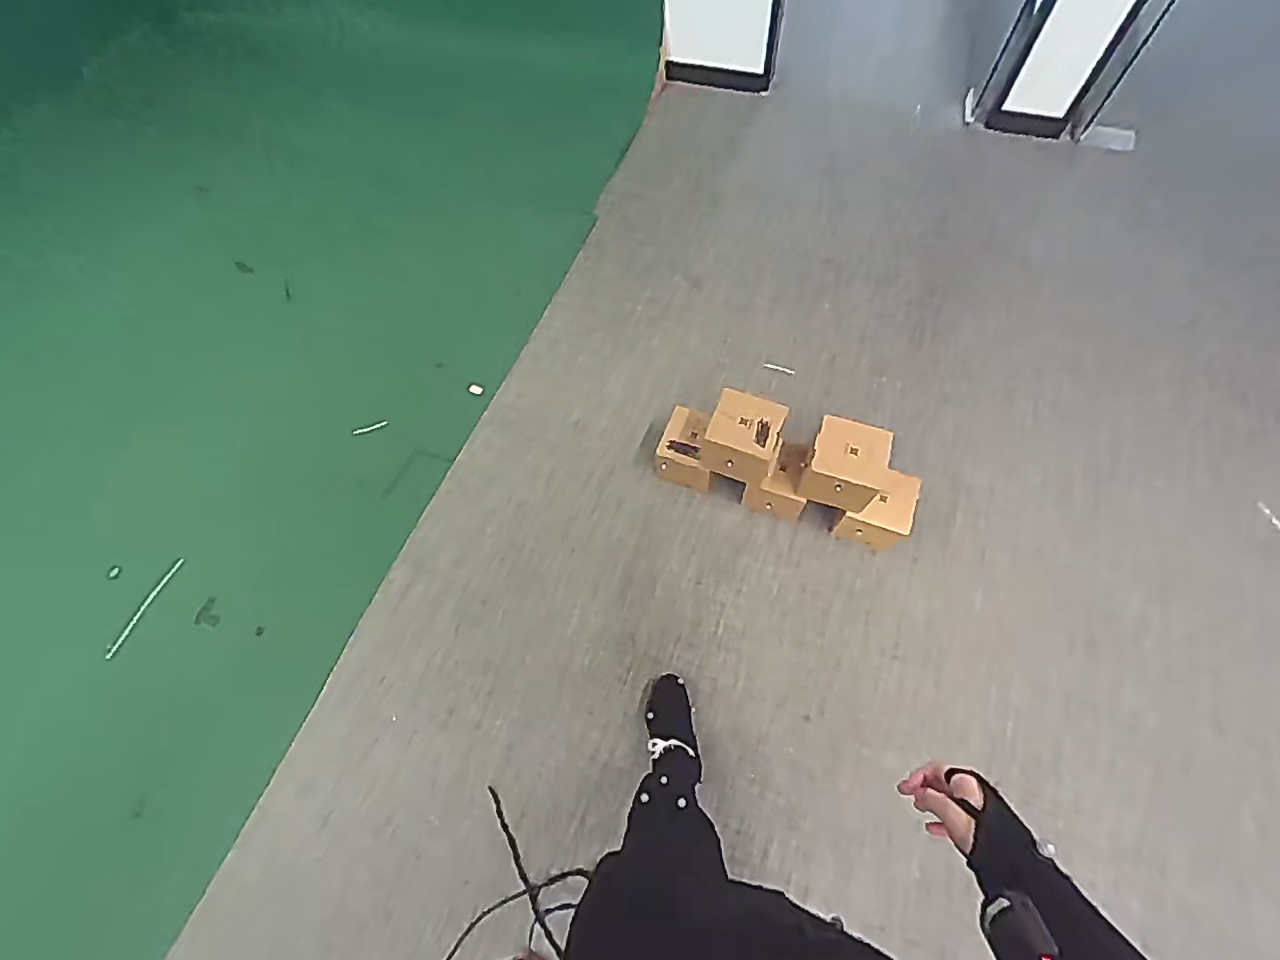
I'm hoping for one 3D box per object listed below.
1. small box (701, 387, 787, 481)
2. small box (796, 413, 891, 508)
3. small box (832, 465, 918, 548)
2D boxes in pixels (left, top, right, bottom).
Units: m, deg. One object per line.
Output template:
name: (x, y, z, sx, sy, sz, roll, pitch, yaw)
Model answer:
small box: (0.273, -0.115, 1.445, 0.179, 0.176, 0.168, 20, 68, 13)
small box: (0.518, -0.044, 1.397, 0.179, 0.176, 0.168, 17, 68, 9)
small box: (0.652, 0.070, 1.516, 0.168, 0.176, 0.179, 18, 68, 12)
